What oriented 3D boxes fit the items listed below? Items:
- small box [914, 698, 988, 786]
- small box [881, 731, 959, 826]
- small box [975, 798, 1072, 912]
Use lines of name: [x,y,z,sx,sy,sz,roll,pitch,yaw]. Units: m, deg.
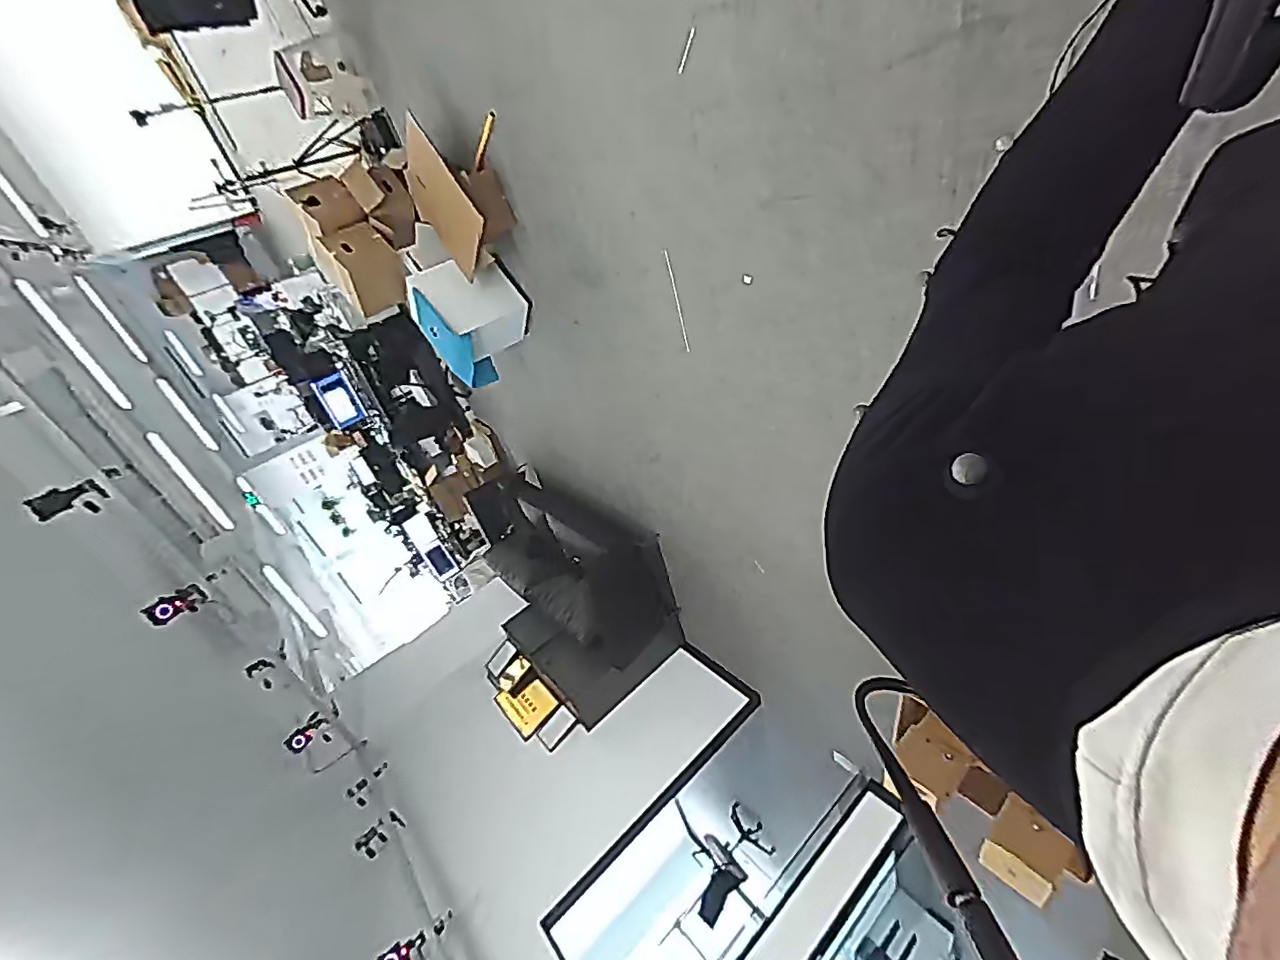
small box: [1.027,0.876,1.806,0.168,0.176,0.179,31,144,42]
small box: [0.898,0.950,1.735,0.168,0.176,0.179,27,142,46]
small box: [1.087,1.058,1.534,0.168,0.176,0.179,26,141,44]
